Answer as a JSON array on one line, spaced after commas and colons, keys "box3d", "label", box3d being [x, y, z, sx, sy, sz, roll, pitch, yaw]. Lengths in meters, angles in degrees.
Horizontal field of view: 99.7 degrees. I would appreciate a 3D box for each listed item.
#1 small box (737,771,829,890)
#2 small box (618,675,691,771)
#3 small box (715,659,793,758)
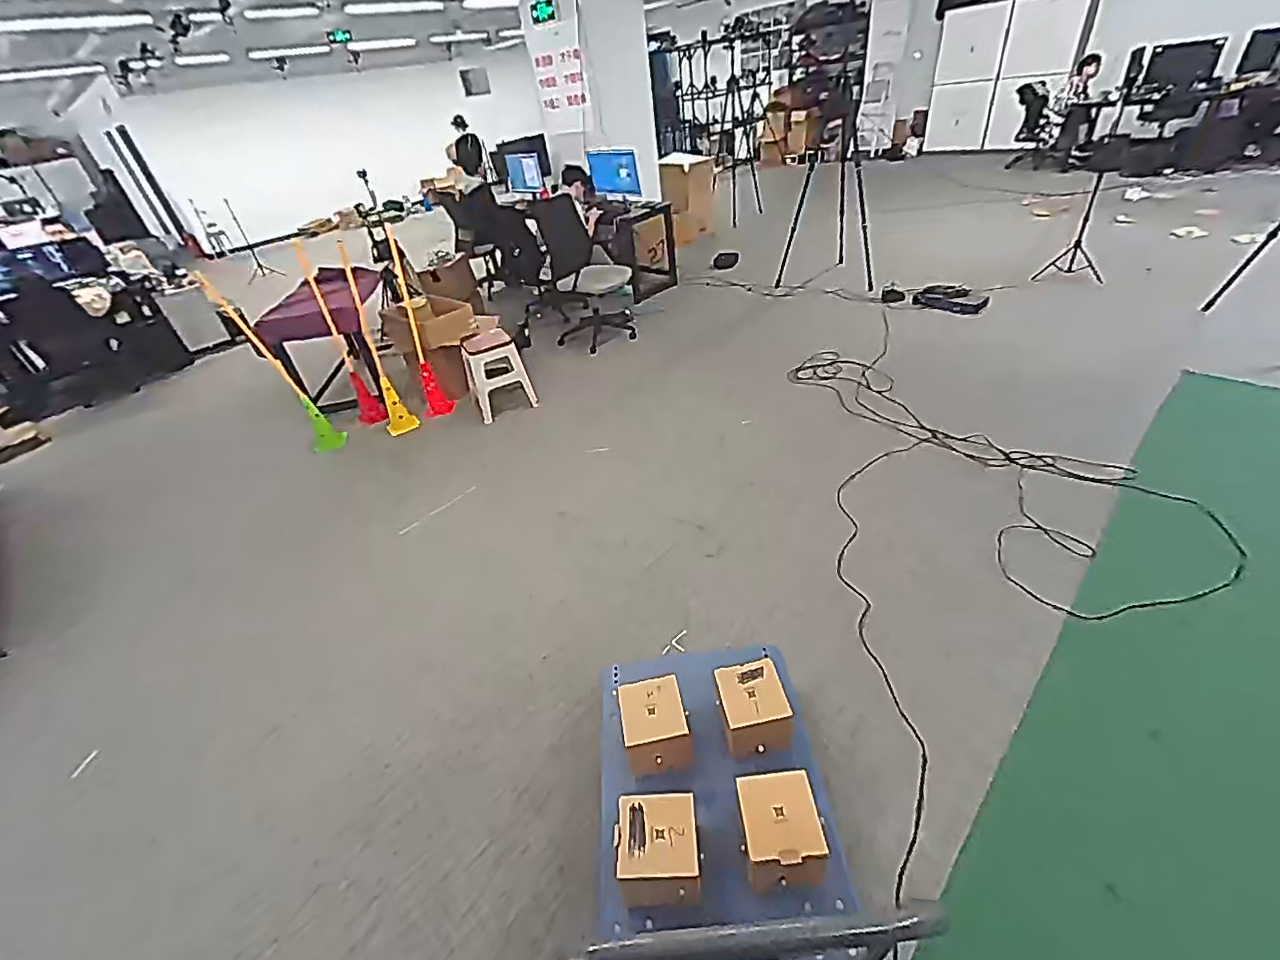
[{"box3d": [0.317, 0.801, 1.238, 0.168, 0.176, 0.179, -7, 37, 1], "label": "small box"}, {"box3d": [0.039, 0.666, 1.470, 0.168, 0.176, 0.179, -10, 37, -3], "label": "small box"}, {"box3d": [0.305, 0.623, 1.474, 0.168, 0.176, 0.179, -11, 38, -2], "label": "small box"}]
